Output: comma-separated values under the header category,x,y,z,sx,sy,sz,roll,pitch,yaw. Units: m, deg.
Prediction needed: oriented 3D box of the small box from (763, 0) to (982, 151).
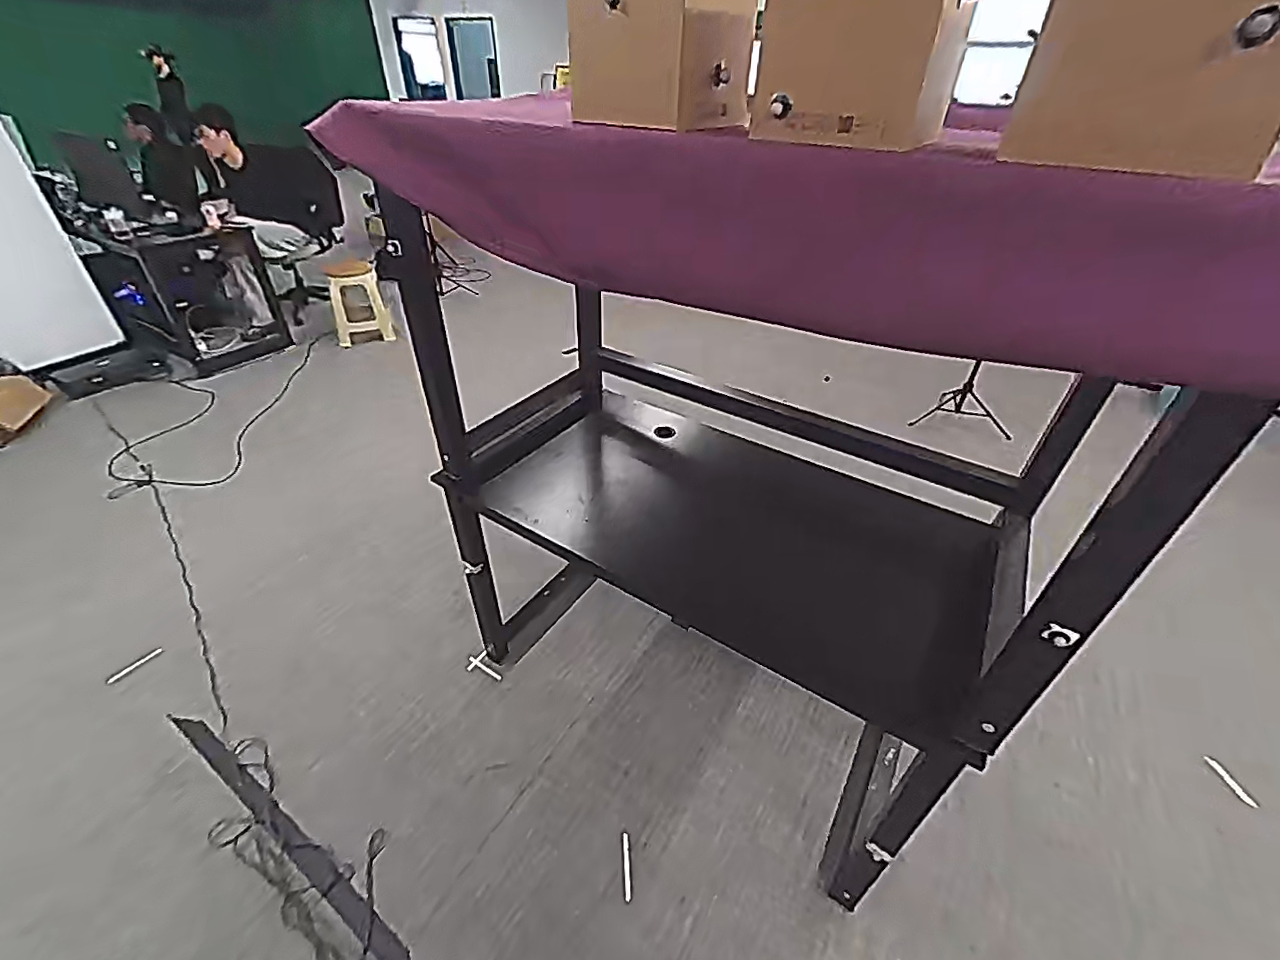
category,x,y,z,sx,sy,sz,roll,pitch,yaw
small box,0.239,-0.445,0.557,0.168,0.176,0.179,23,41,26

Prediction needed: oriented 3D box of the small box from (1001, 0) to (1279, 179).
category,x,y,z,sx,sy,sz,roll,pitch,yaw
small box,0.434,-0.346,0.434,0.179,0.176,0.168,26,42,29

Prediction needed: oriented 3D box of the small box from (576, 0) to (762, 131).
category,x,y,z,sx,sy,sz,roll,pitch,yaw
small box,0.031,-0.542,0.677,0.179,0.176,0.168,26,43,28
